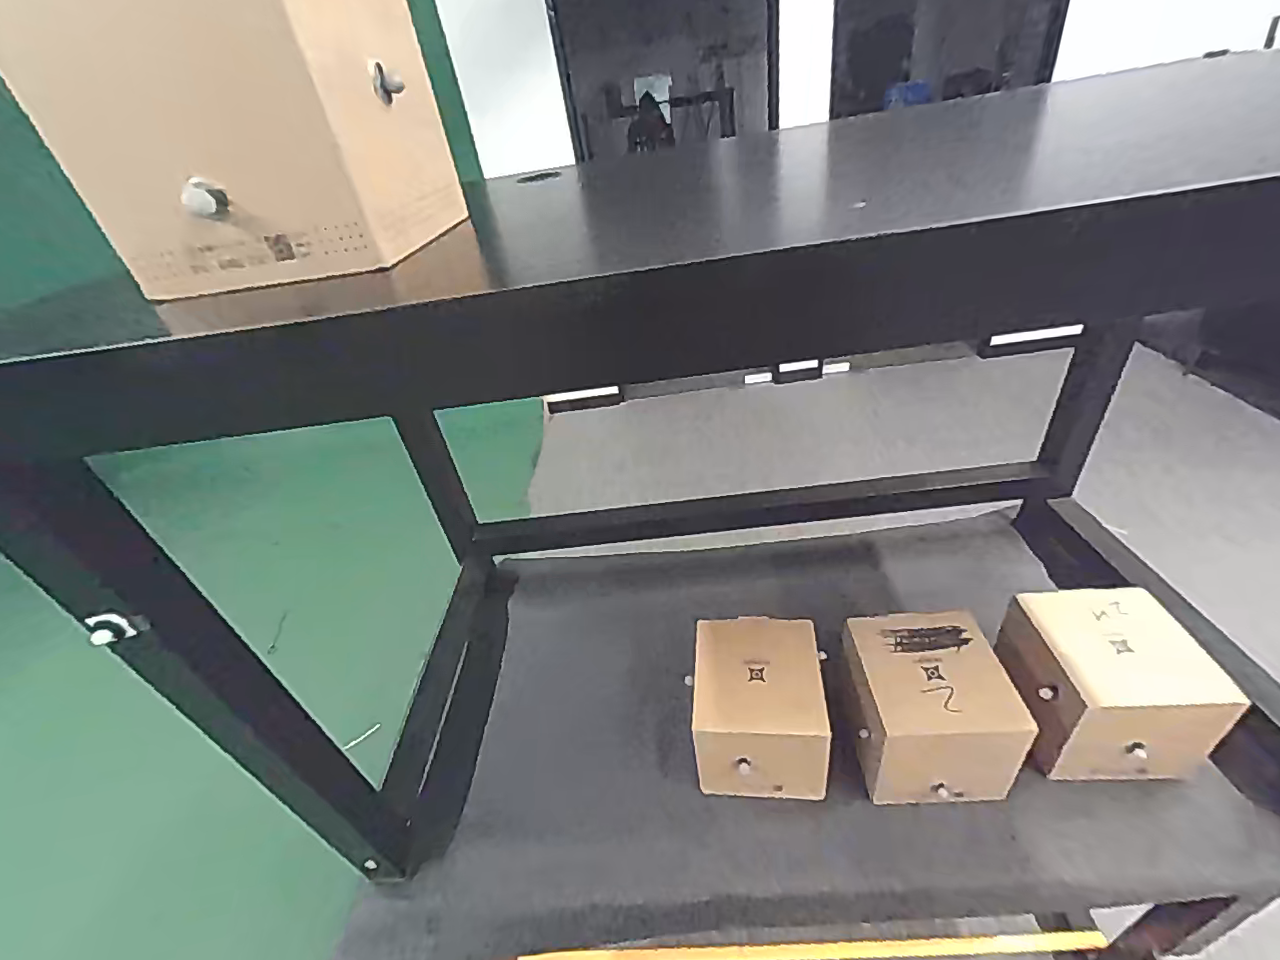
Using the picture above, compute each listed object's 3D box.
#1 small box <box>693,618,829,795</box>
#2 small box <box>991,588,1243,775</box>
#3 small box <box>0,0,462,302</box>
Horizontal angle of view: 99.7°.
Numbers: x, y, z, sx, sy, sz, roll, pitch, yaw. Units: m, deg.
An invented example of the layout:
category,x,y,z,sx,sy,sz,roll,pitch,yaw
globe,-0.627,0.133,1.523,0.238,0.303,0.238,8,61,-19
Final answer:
category,x,y,z,sx,sy,sz,roll,pitch,yaw
small box,0.168,0.318,0.764,0.168,0.176,0.179,-3,35,11
small box,0.604,0.268,0.718,0.168,0.176,0.179,-4,35,8
small box,-0.239,-0.234,0.366,0.168,0.176,0.179,-6,36,6
